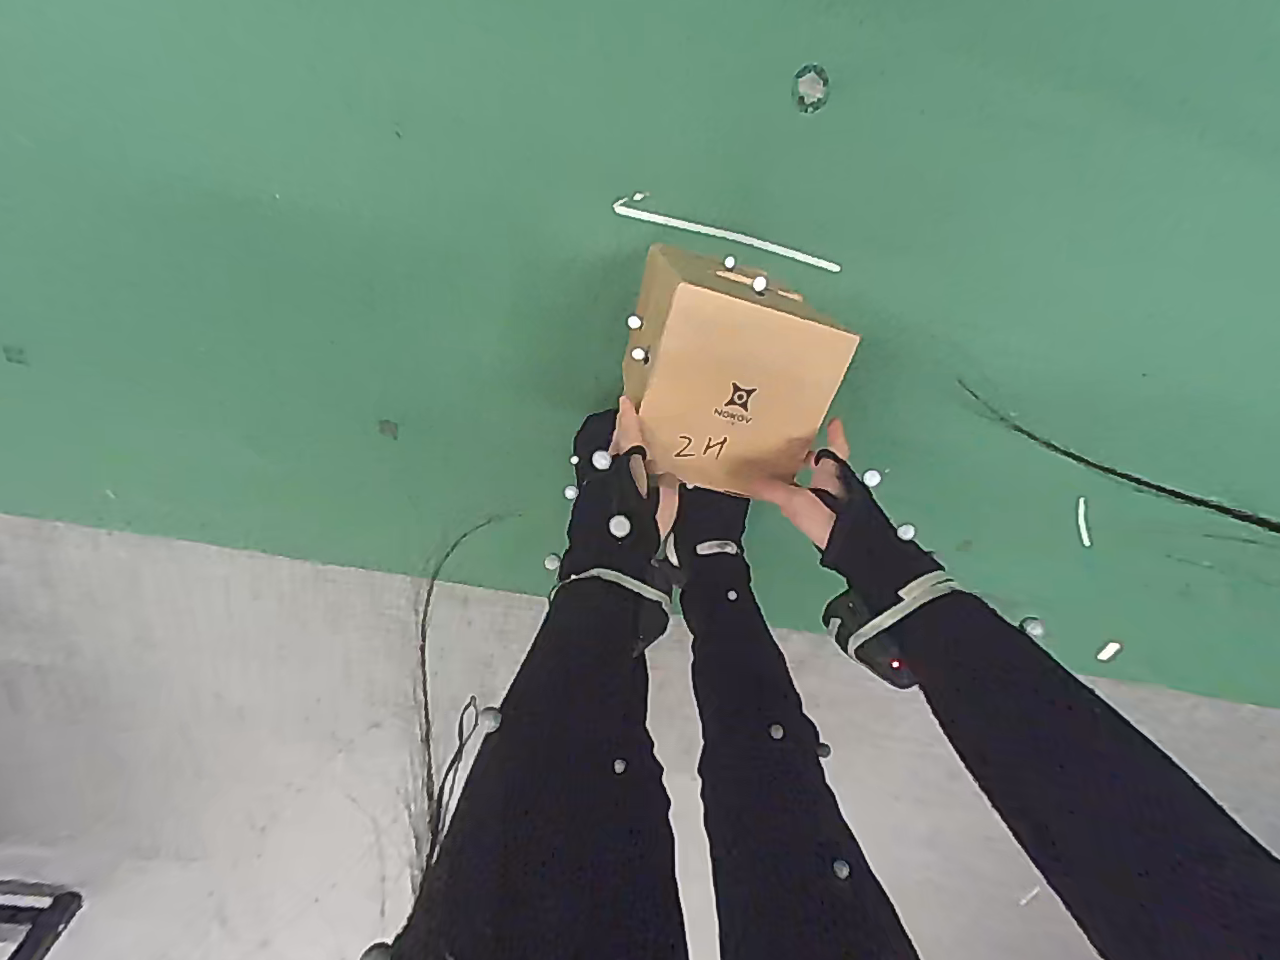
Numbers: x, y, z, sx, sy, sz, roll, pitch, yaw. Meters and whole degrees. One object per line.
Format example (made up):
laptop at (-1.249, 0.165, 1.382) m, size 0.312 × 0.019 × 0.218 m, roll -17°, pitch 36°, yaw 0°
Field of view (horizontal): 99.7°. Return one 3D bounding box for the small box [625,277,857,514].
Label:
small box at (0.083, -0.095, 0.557) m, size 0.168 × 0.176 × 0.179 m, roll 14°, pitch 116°, yaw -9°

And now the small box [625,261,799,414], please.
small box at (0.080, -0.171, 0.705) m, size 0.168 × 0.176 × 0.179 m, roll 12°, pitch 116°, yaw -8°
